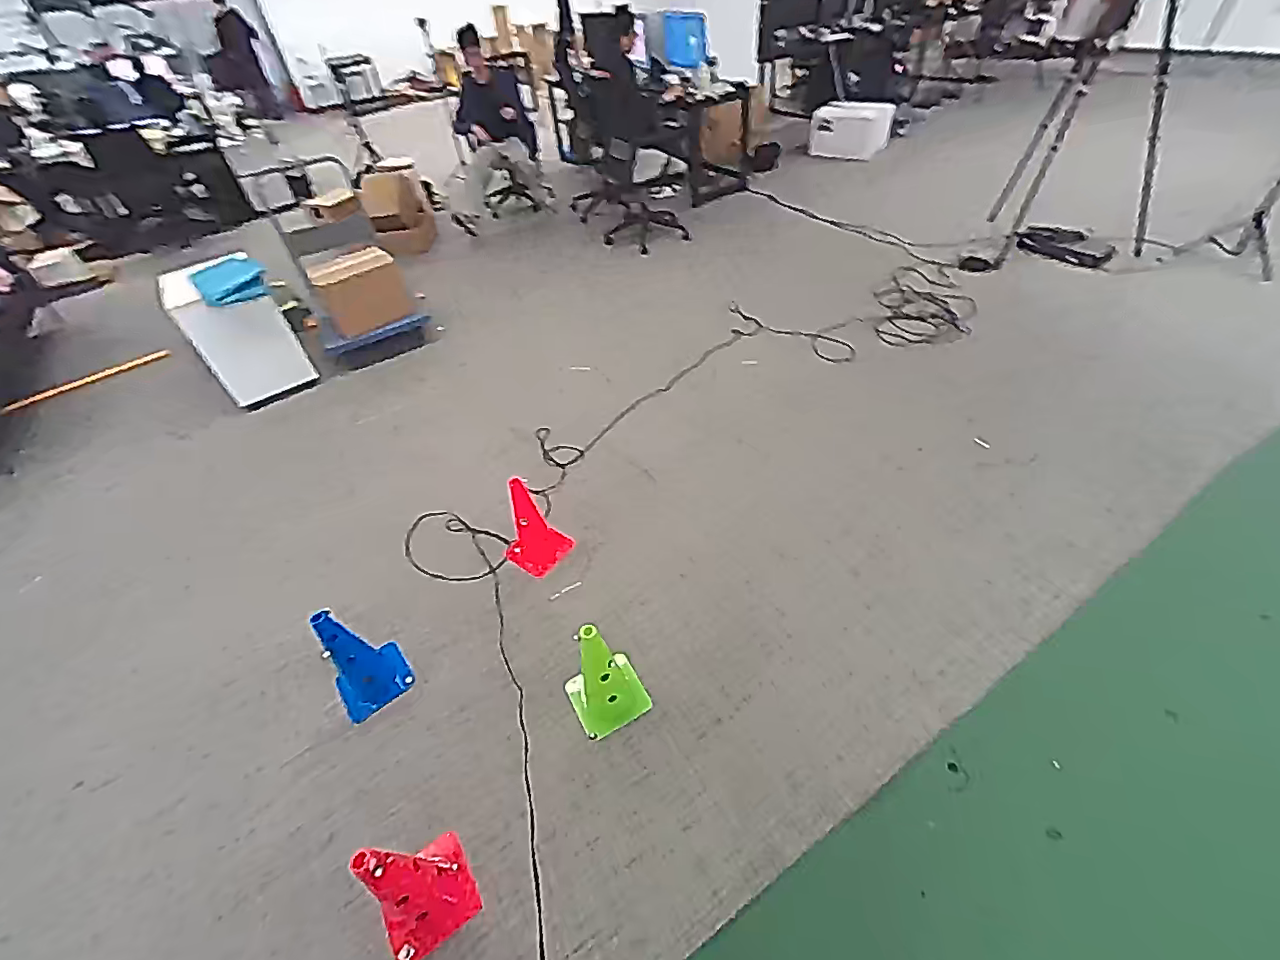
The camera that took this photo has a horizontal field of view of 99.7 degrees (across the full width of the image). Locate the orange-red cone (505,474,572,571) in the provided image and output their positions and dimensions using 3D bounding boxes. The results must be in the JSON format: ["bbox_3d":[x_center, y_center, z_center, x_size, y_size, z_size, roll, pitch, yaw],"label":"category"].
[{"bbox_3d":[-0.387,0.114,1.867,0.199,0.360,0.198,28,55,29],"label":"orange-red cone"}]

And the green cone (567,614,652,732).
[{"bbox_3d":[-0.108,0.478,1.448,0.200,0.368,0.202,-25,46,-18],"label":"green cone"}]
